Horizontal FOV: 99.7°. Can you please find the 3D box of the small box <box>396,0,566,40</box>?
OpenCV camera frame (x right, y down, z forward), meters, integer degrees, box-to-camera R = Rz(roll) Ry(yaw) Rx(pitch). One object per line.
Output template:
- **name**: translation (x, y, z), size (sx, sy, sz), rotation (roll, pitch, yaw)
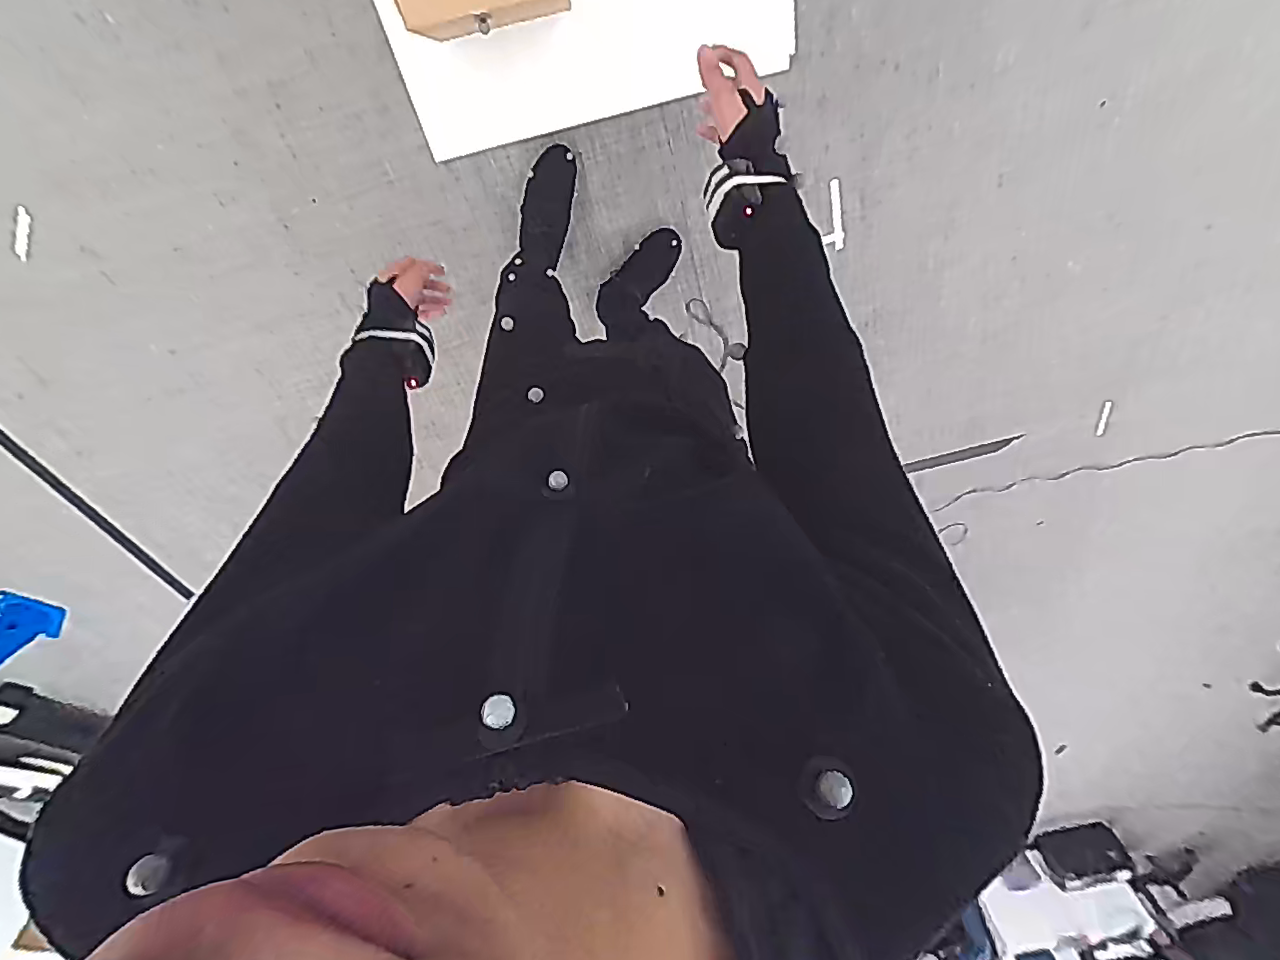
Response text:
- **small box**: translation (-0.177, -0.589, 0.570), size (0.179, 0.176, 0.168), rotation (-12, 127, 1)
